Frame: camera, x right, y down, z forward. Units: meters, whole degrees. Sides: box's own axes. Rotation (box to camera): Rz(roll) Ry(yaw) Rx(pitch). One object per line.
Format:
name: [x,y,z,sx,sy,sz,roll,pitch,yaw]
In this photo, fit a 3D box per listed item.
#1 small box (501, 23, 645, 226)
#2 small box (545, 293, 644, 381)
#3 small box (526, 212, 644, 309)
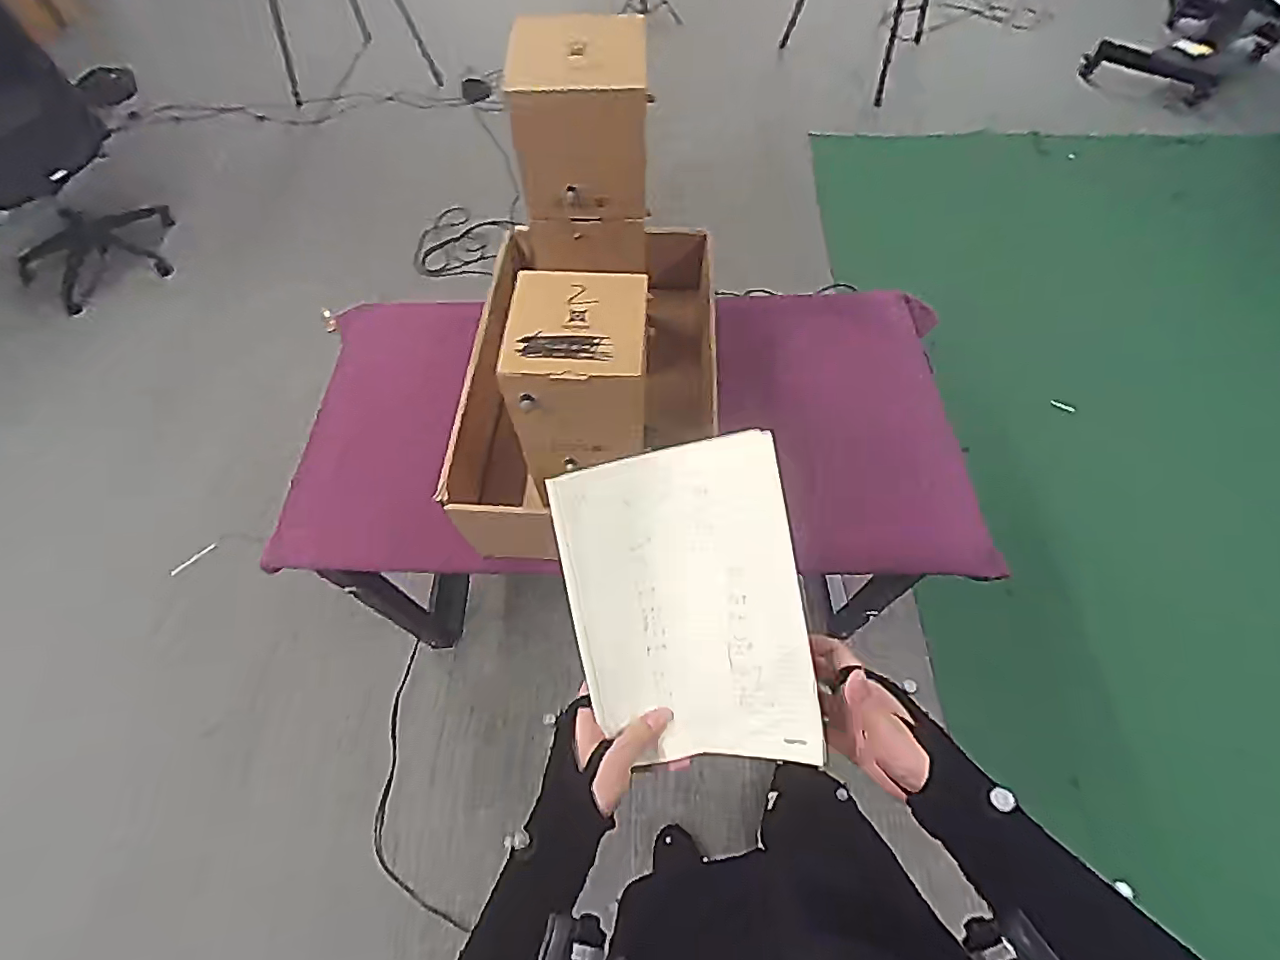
small box: [-0.077,-0.470,0.722,0.168,0.176,0.179,-1,62,0]
small box: [-0.076,-0.306,1.005,0.168,0.176,0.179,0,62,0]
small box: [-0.078,-0.392,0.865,0.168,0.176,0.179,-1,61,0]
